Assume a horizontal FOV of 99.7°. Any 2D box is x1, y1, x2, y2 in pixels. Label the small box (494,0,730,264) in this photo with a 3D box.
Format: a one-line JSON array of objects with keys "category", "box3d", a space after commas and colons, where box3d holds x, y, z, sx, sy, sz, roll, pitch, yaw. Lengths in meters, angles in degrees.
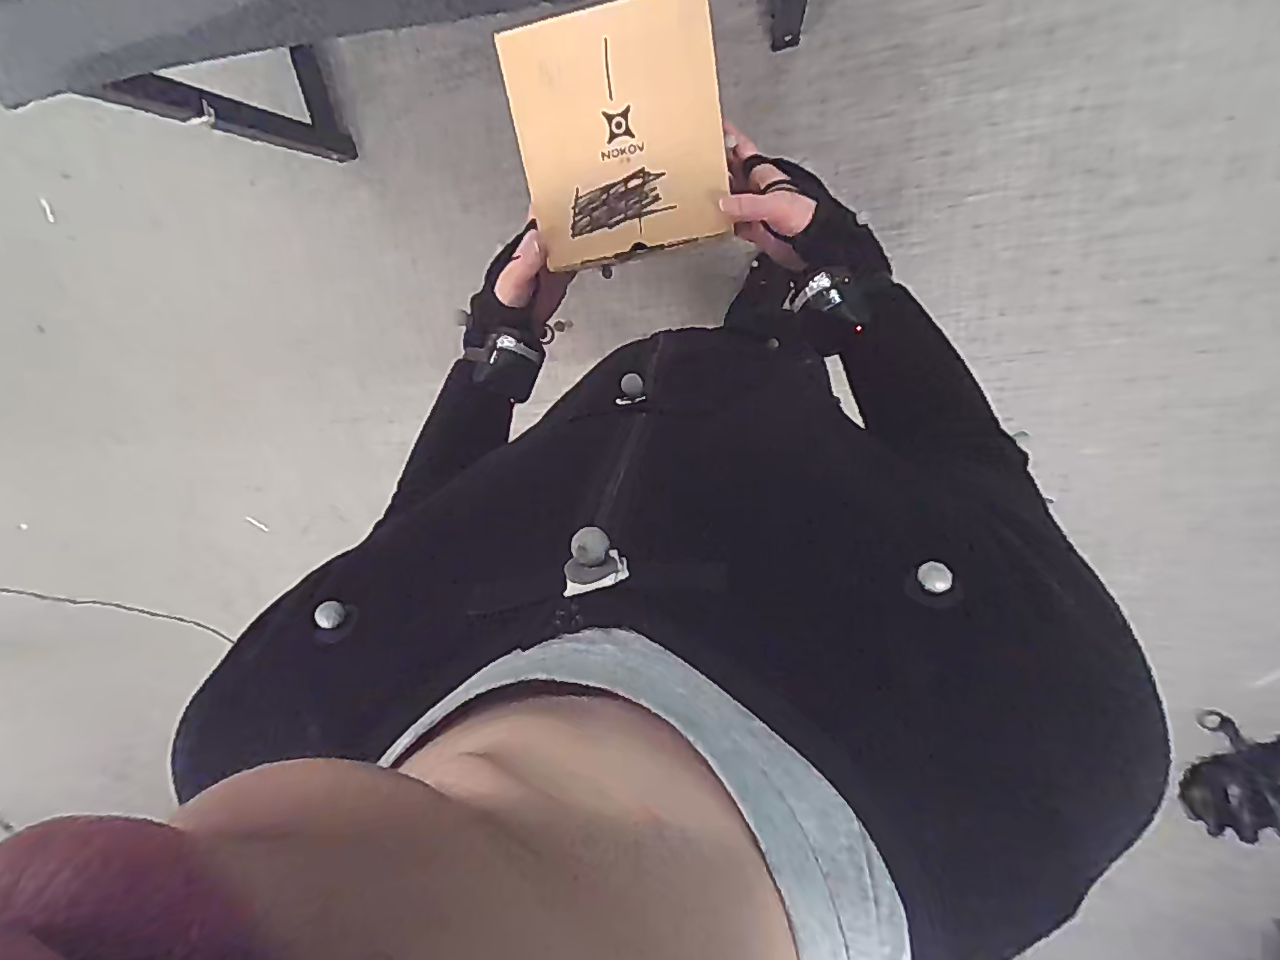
[{"category": "small box", "box3d": [-0.011, -0.308, 0.502, 0.168, 0.176, 0.179, -8, 111, 8]}]
